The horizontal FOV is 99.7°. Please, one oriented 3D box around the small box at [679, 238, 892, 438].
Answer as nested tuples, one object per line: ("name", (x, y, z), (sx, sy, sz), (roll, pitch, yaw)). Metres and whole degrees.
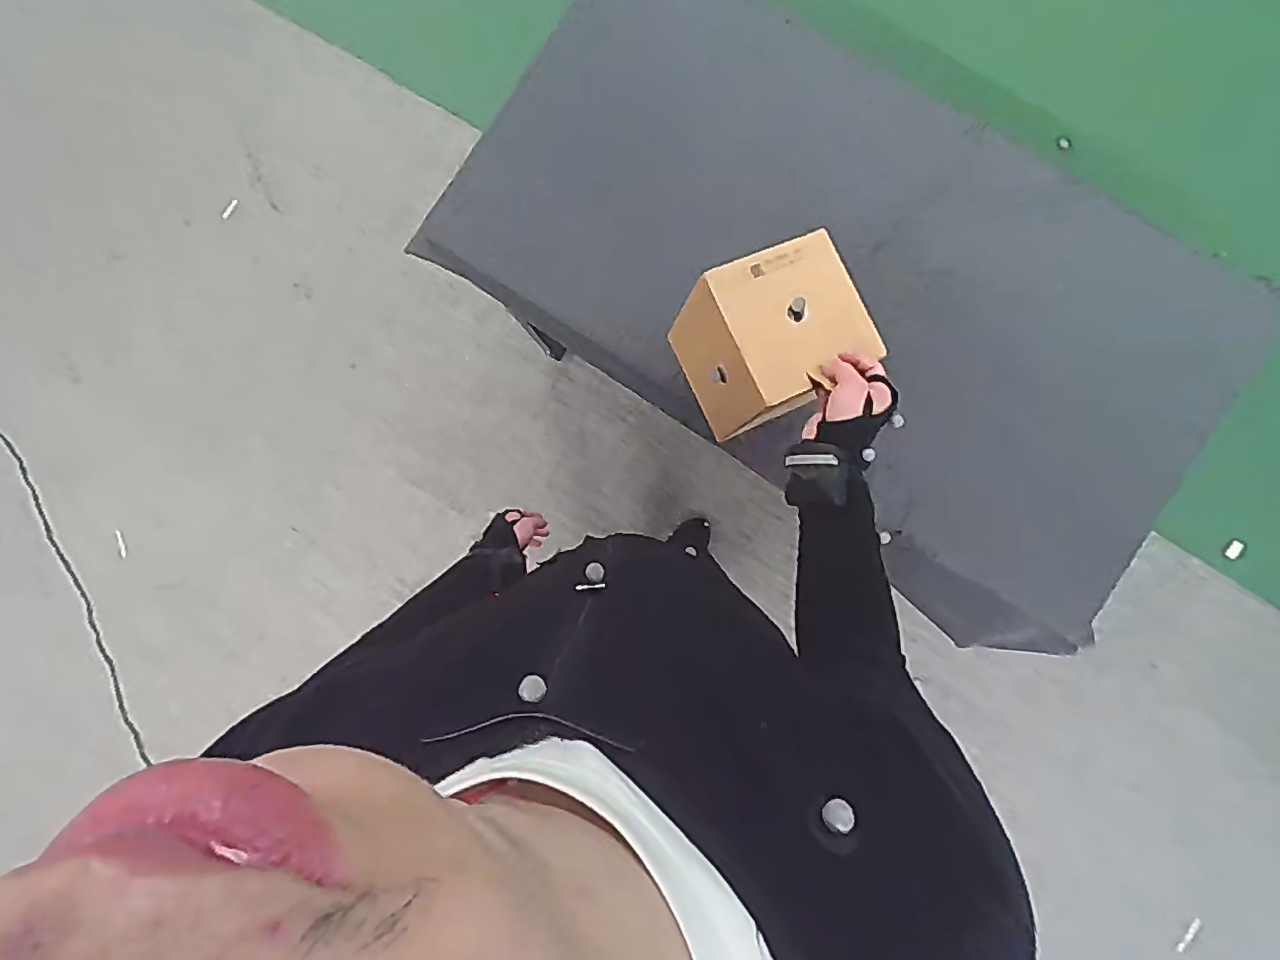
("small box", (0.167, -0.177, 0.683), (0.168, 0.179, 0.176), (-26, 88, -10))
